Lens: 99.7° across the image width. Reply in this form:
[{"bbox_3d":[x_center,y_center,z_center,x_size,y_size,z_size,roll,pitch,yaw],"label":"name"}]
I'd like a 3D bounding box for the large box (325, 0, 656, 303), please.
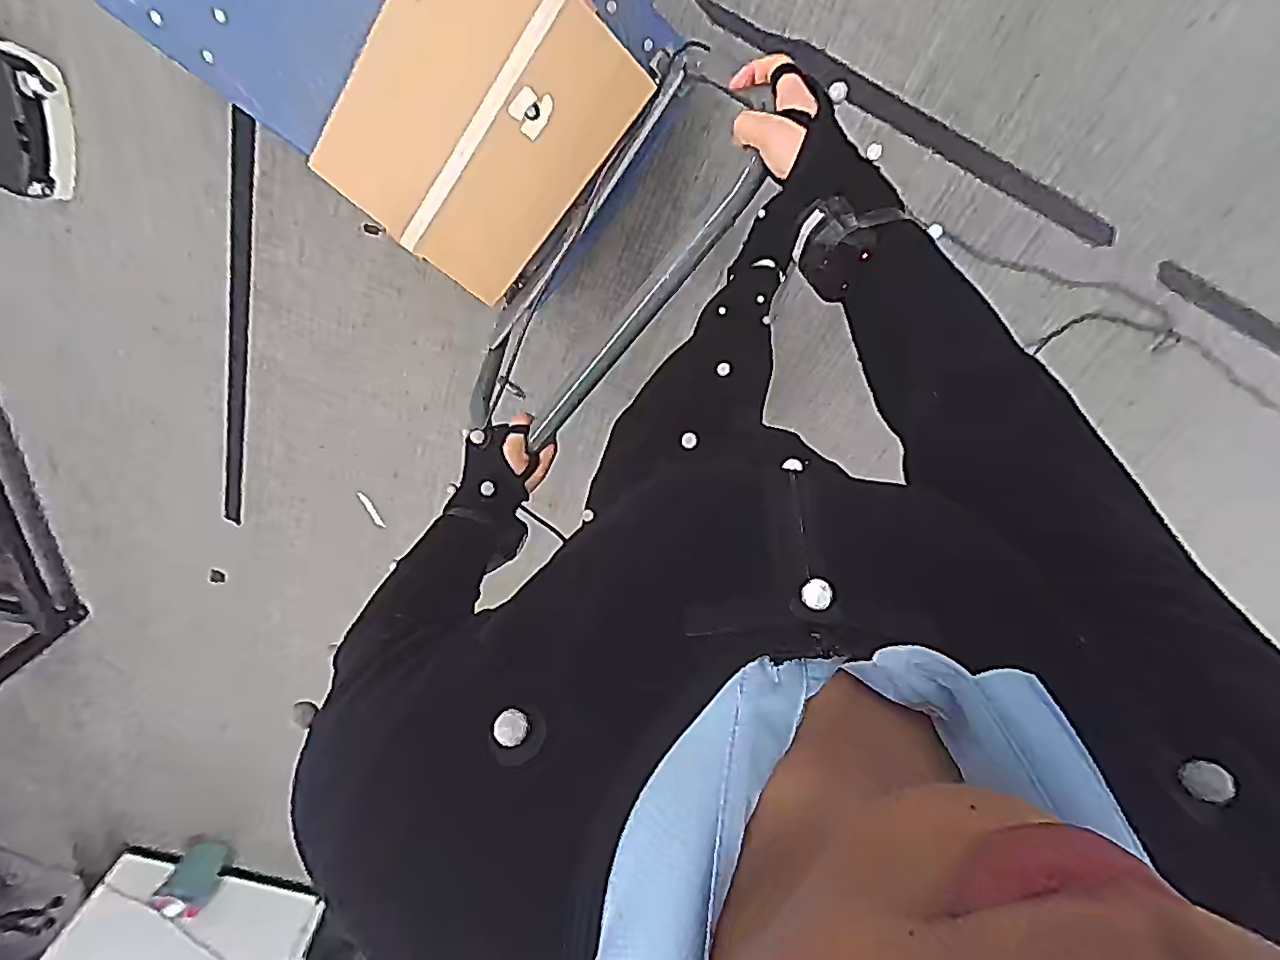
[{"bbox_3d":[-0.222,-0.578,0.879,0.320,0.320,0.408,35,117,-24],"label":"large box"}]
